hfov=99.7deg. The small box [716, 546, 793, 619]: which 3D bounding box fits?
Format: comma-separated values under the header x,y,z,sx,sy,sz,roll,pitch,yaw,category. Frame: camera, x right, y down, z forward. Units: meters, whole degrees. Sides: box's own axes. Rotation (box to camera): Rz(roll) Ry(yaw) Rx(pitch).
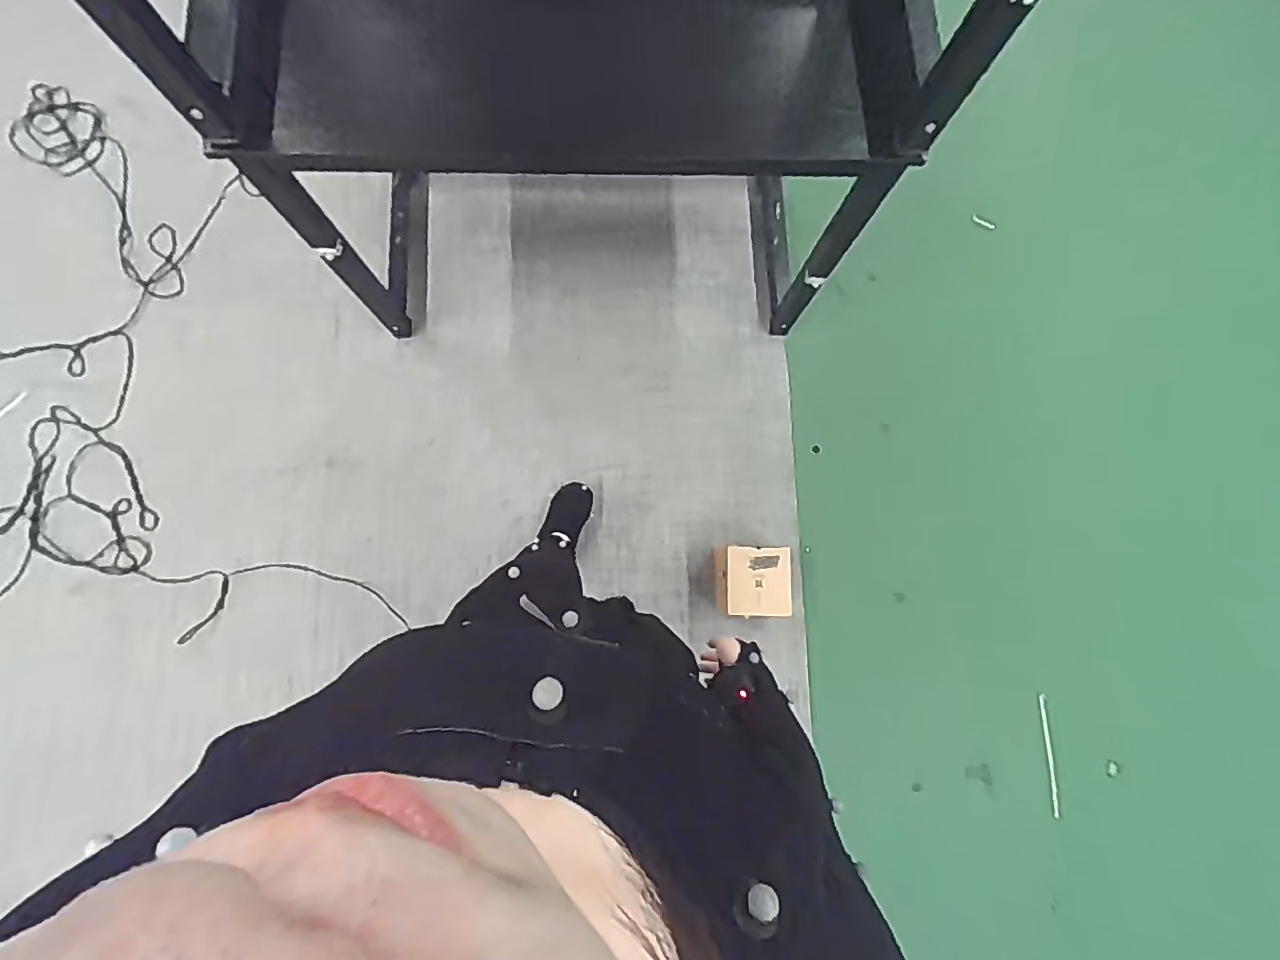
x,y,z,sx,sy,sz,roll,pitch,yaw,category
0.298,0.268,1.431,0.168,0.176,0.179,2,81,-2,small box
